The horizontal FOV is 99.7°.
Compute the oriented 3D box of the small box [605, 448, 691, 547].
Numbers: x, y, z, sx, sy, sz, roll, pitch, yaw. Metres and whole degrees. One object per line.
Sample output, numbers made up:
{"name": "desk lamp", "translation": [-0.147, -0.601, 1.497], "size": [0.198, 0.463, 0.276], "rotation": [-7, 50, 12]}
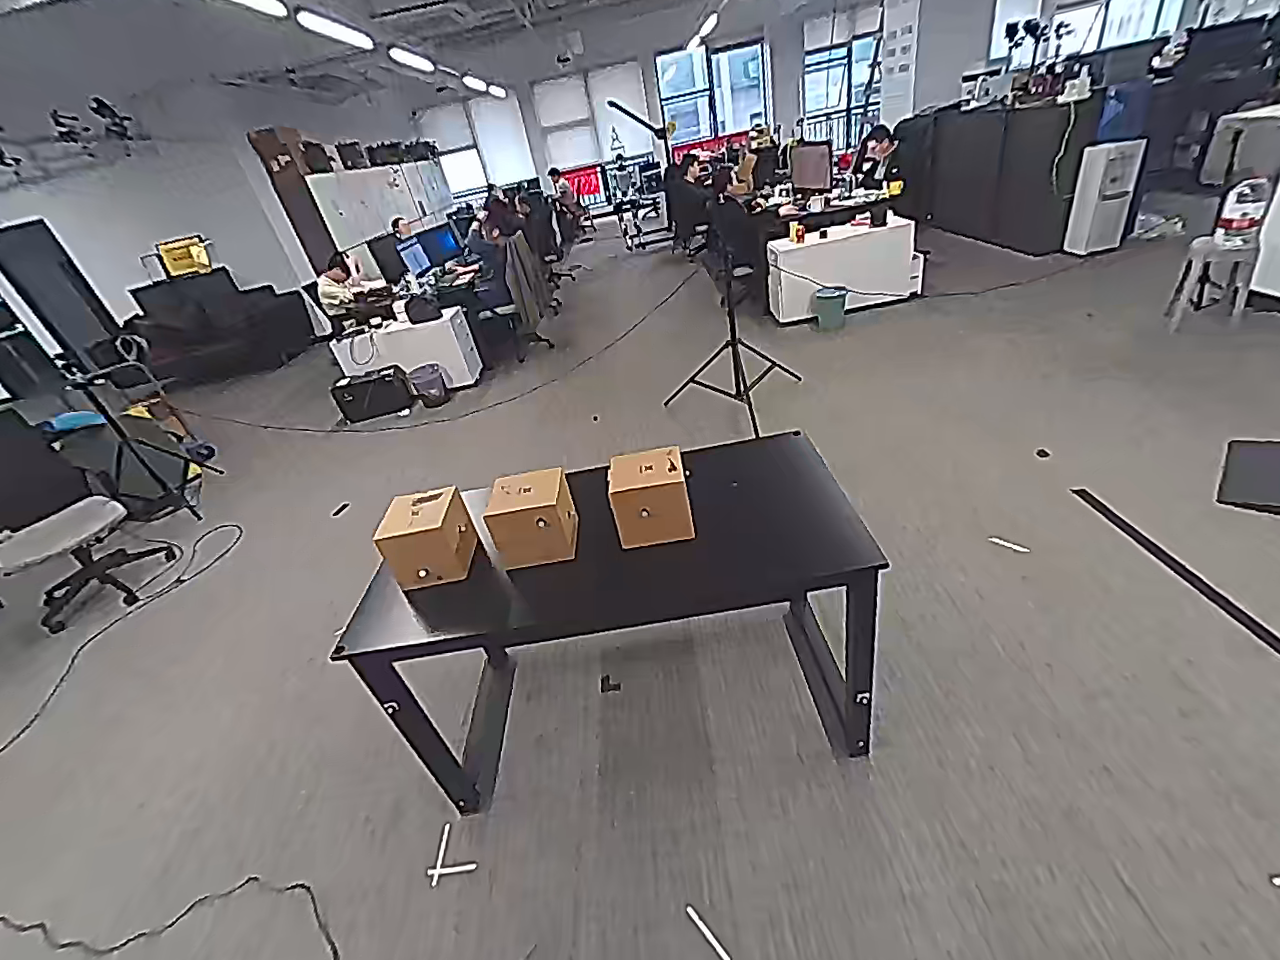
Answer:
{"name": "small box", "translation": [0.022, 0.045, 1.318], "size": [0.179, 0.176, 0.168], "rotation": [-10, 32, 6]}

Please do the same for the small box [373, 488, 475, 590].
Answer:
{"name": "small box", "translation": [-0.528, 0.146, 1.352], "size": [0.168, 0.176, 0.179], "rotation": [-11, 33, 2]}

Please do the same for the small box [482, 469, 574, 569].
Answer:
{"name": "small box", "translation": [-0.266, 0.097, 1.336], "size": [0.179, 0.176, 0.168], "rotation": [-10, 32, 3]}
